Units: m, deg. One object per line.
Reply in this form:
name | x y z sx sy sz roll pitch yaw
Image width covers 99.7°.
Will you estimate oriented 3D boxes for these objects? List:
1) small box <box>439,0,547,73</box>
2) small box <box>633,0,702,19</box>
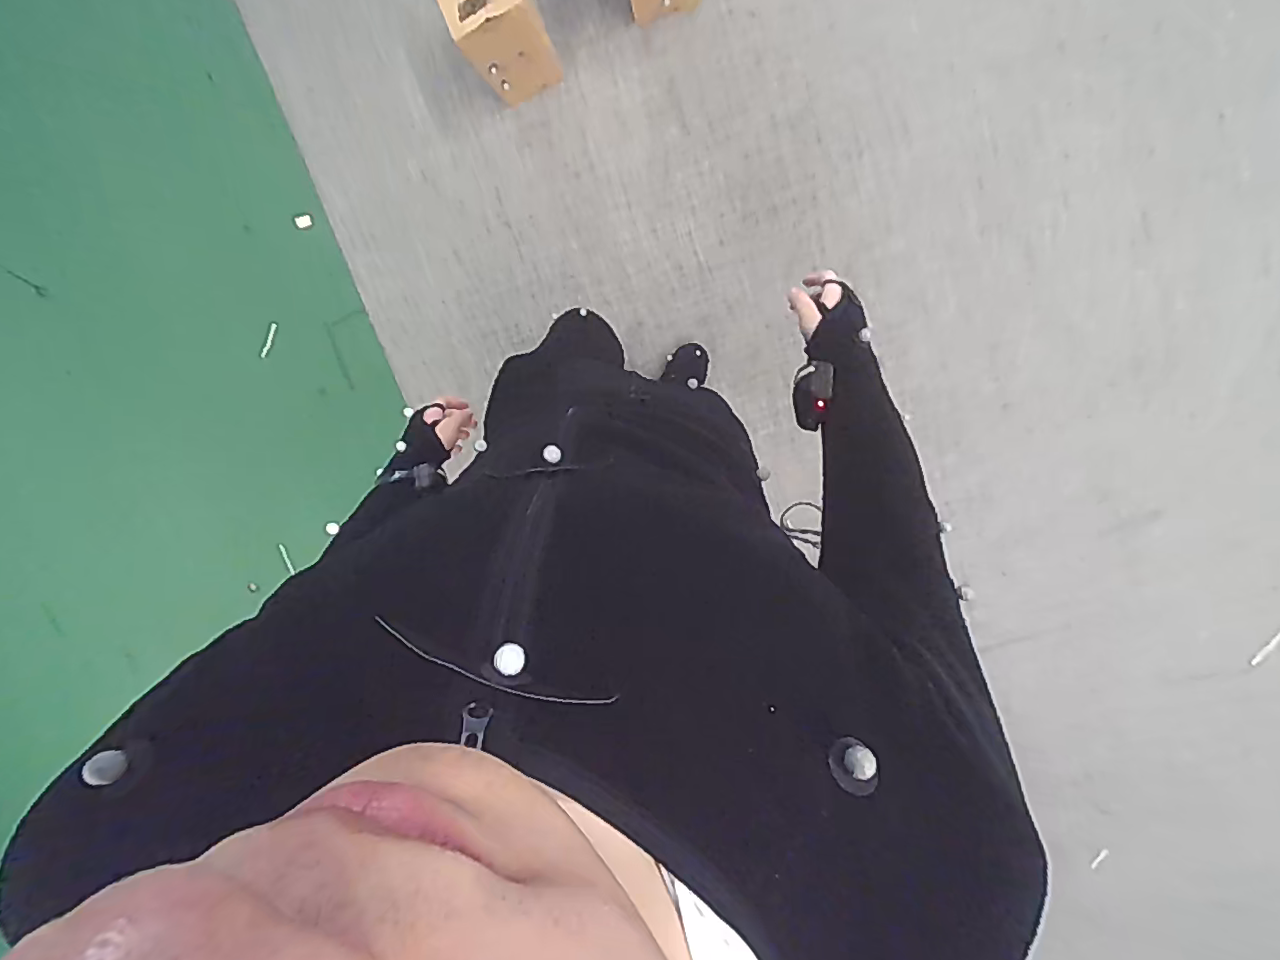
small box | -0.319 -1.013 1.149 0.168 0.176 0.179 -19 101 11
small box | 0.051 -1.195 1.226 0.168 0.176 0.179 -9 105 9
